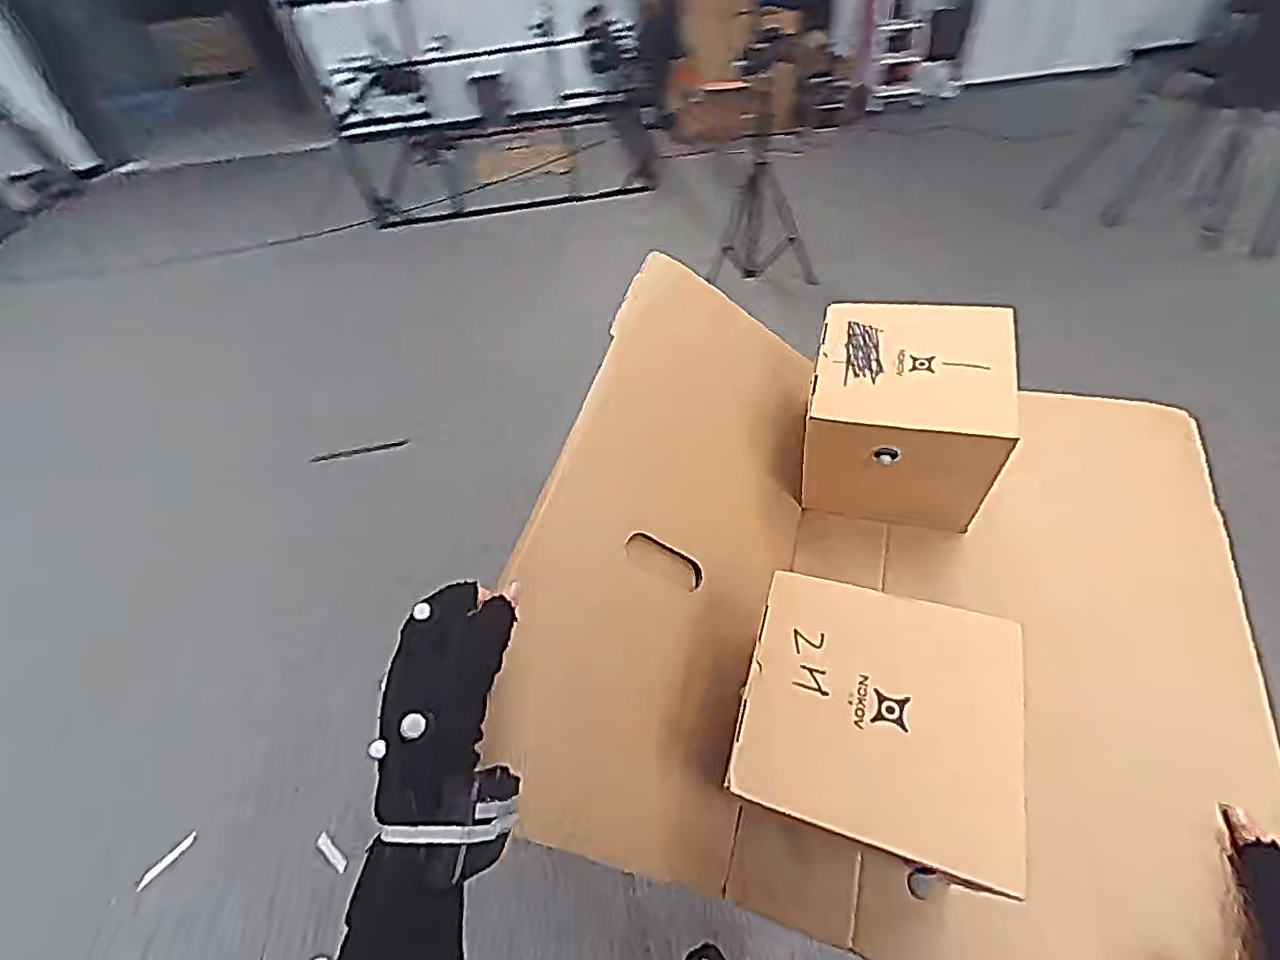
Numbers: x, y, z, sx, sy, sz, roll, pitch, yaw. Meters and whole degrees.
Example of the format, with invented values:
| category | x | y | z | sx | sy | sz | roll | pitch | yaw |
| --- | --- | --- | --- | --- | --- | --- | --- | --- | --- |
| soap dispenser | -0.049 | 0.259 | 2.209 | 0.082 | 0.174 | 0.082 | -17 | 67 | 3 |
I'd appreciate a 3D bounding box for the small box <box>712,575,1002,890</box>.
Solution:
| category | x | y | z | sx | sy | sz | roll | pitch | yaw |
| --- | --- | --- | --- | --- | --- | --- | --- | --- | --- |
| small box | 0.171 | 0.201 | 0.445 | 0.179 | 0.176 | 0.168 | 9 | 59 | 20 |
